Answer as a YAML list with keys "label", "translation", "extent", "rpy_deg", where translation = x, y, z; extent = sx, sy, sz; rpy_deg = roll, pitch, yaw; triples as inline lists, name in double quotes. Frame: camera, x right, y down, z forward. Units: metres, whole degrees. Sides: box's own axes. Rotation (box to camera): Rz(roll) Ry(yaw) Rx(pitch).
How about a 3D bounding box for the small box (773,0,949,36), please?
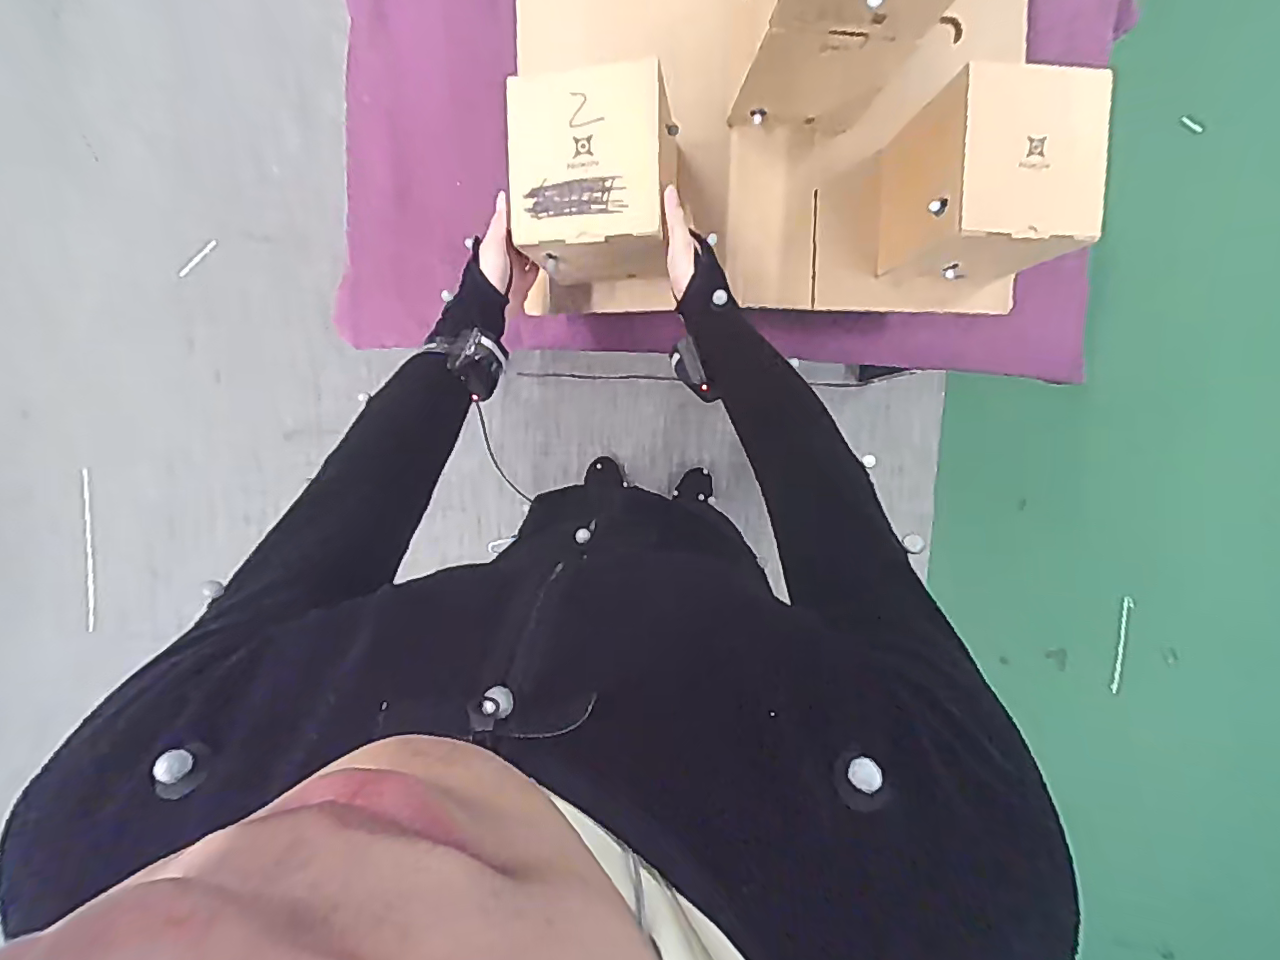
- label: "small box"
  translation: [0.212, -0.523, 0.443]
  extent: [0.168, 0.176, 0.179]
  rpy_deg: [-1, 96, -6]

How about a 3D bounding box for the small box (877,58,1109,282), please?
- label: "small box"
  translation: [0.405, -0.352, 0.647]
  extent: [0.168, 0.176, 0.179]
  rpy_deg: [0, 96, -6]

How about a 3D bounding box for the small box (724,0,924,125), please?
- label: "small box"
  translation: [0.196, -0.534, 0.606]
  extent: [0.168, 0.176, 0.179]
  rpy_deg: [-1, 94, -7]
